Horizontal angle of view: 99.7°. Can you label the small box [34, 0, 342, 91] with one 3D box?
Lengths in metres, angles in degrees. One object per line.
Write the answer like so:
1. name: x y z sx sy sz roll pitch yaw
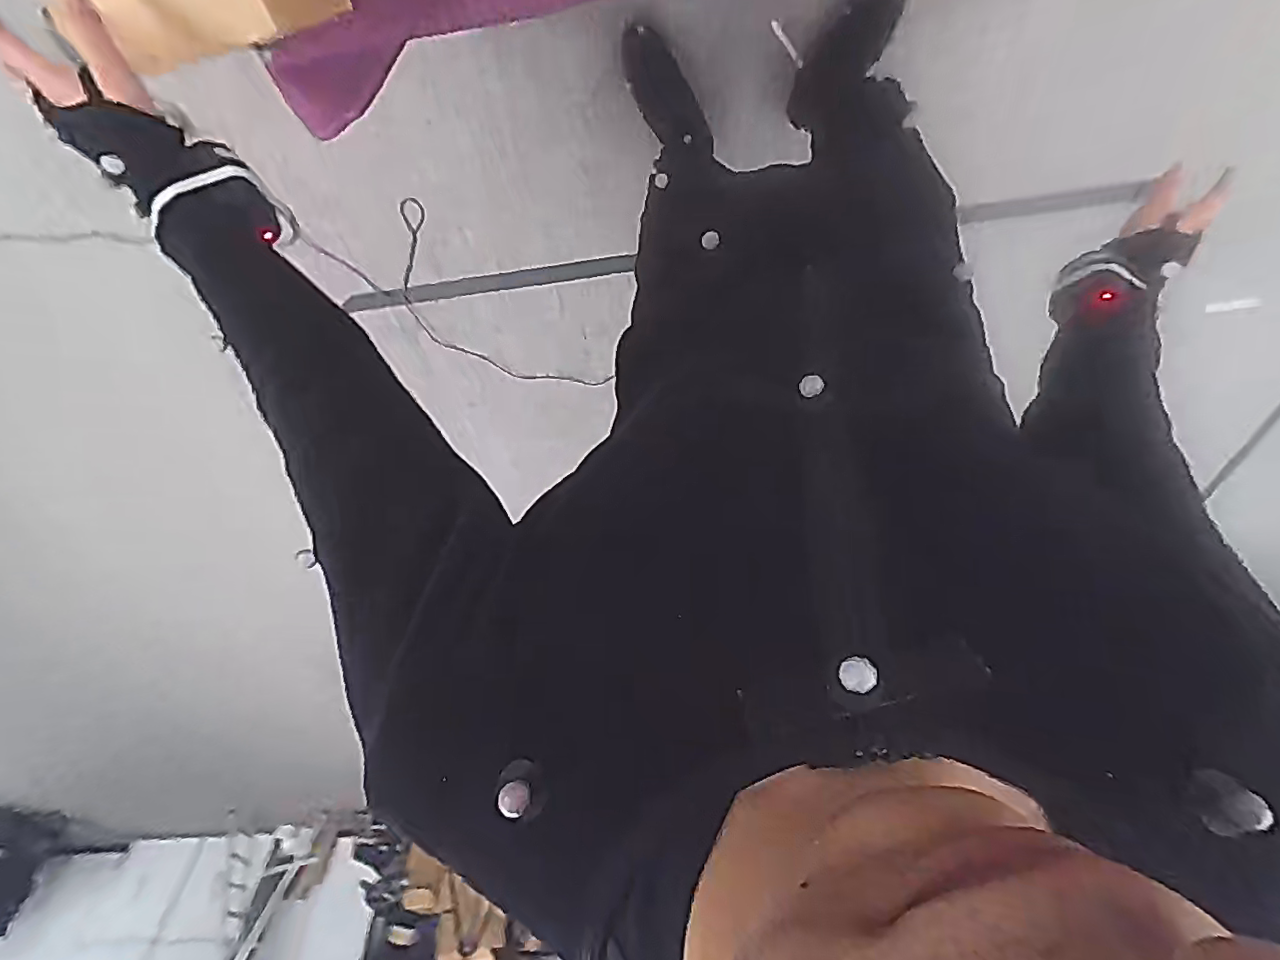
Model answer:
1. small box: -0.398 -0.460 0.458 0.179 0.176 0.168 -10 134 8
